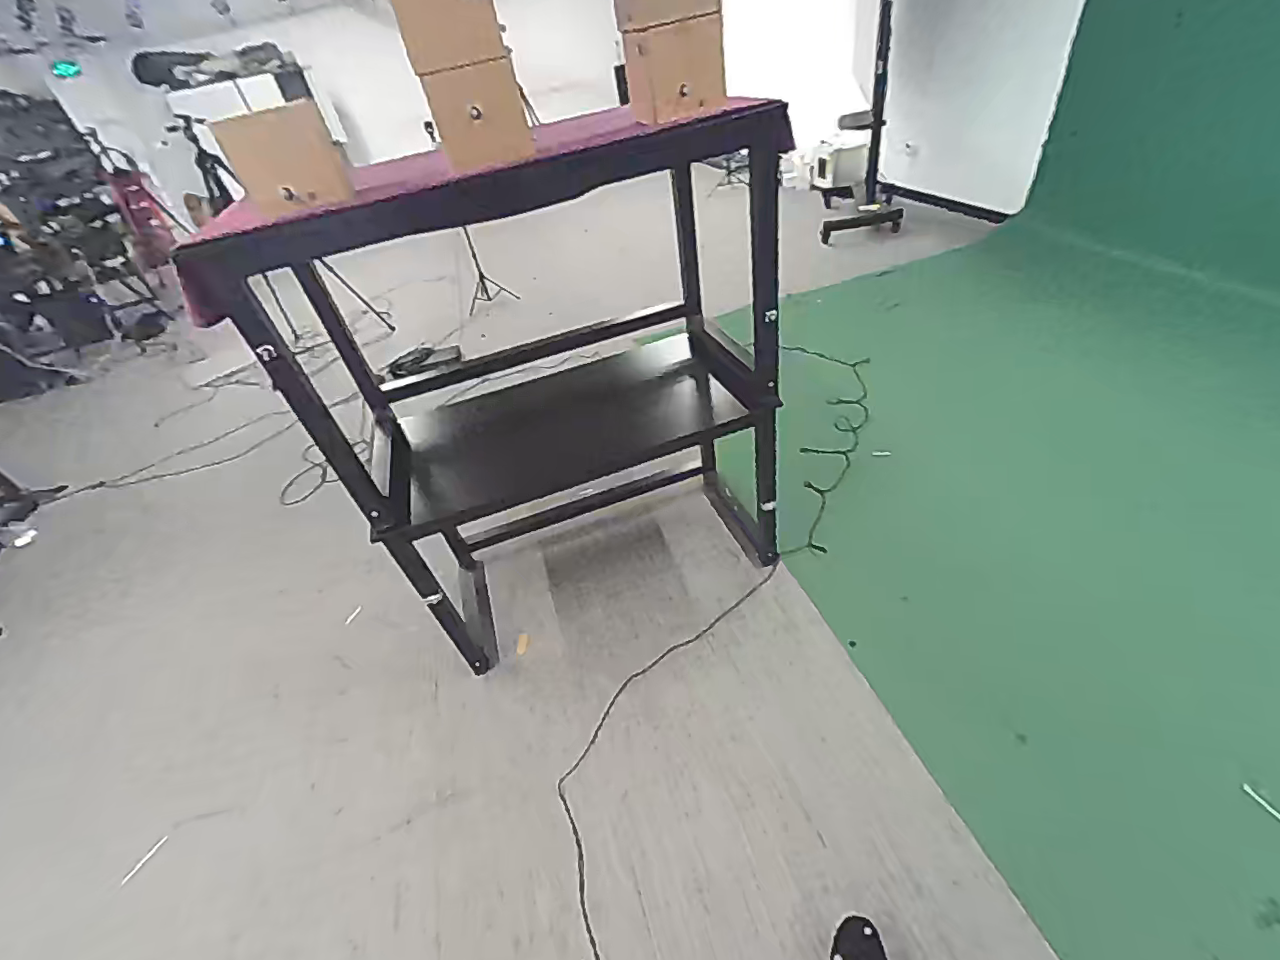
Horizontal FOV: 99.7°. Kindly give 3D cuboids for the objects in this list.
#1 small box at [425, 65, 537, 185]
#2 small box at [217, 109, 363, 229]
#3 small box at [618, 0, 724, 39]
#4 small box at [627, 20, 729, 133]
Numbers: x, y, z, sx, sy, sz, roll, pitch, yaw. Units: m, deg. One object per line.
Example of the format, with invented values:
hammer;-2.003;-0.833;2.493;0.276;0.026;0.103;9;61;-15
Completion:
small box;-0.319;-0.729;1.110;0.179;0.176;0.168;-19;39;-6
small box;-0.661;-0.603;1.050;0.168;0.176;0.179;-20;39;-9
small box;0.051;-0.989;1.062;0.179;0.176;0.168;-19;41;-7
small box;0.083;-0.872;1.174;0.168;0.176;0.179;-19;41;-7
